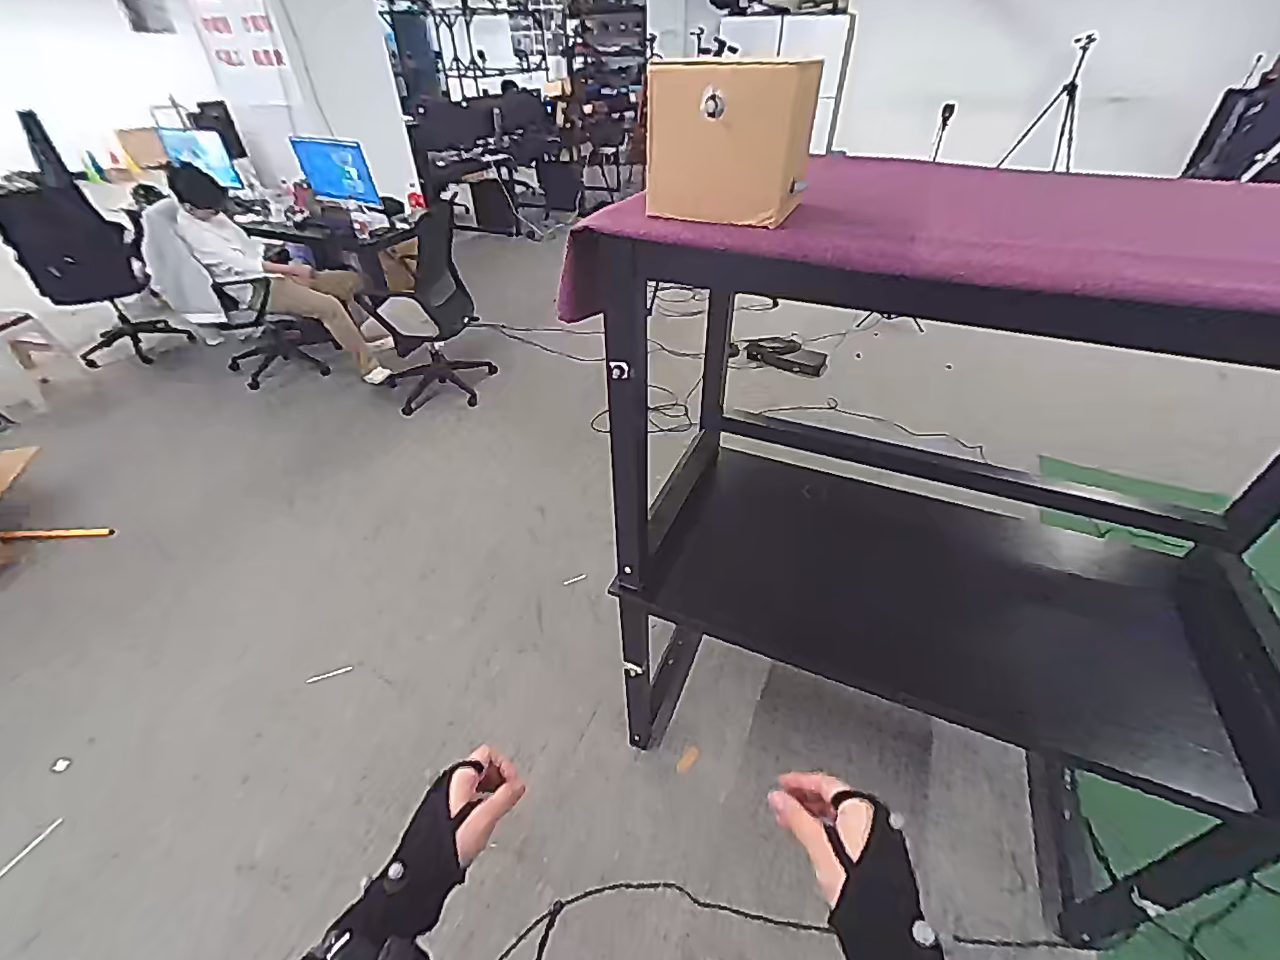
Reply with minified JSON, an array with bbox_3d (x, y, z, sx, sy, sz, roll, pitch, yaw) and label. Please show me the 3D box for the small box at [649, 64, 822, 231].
[{"bbox_3d":[0.120,-0.434,0.704,0.179,0.176,0.168,16,41,18],"label":"small box"}]
